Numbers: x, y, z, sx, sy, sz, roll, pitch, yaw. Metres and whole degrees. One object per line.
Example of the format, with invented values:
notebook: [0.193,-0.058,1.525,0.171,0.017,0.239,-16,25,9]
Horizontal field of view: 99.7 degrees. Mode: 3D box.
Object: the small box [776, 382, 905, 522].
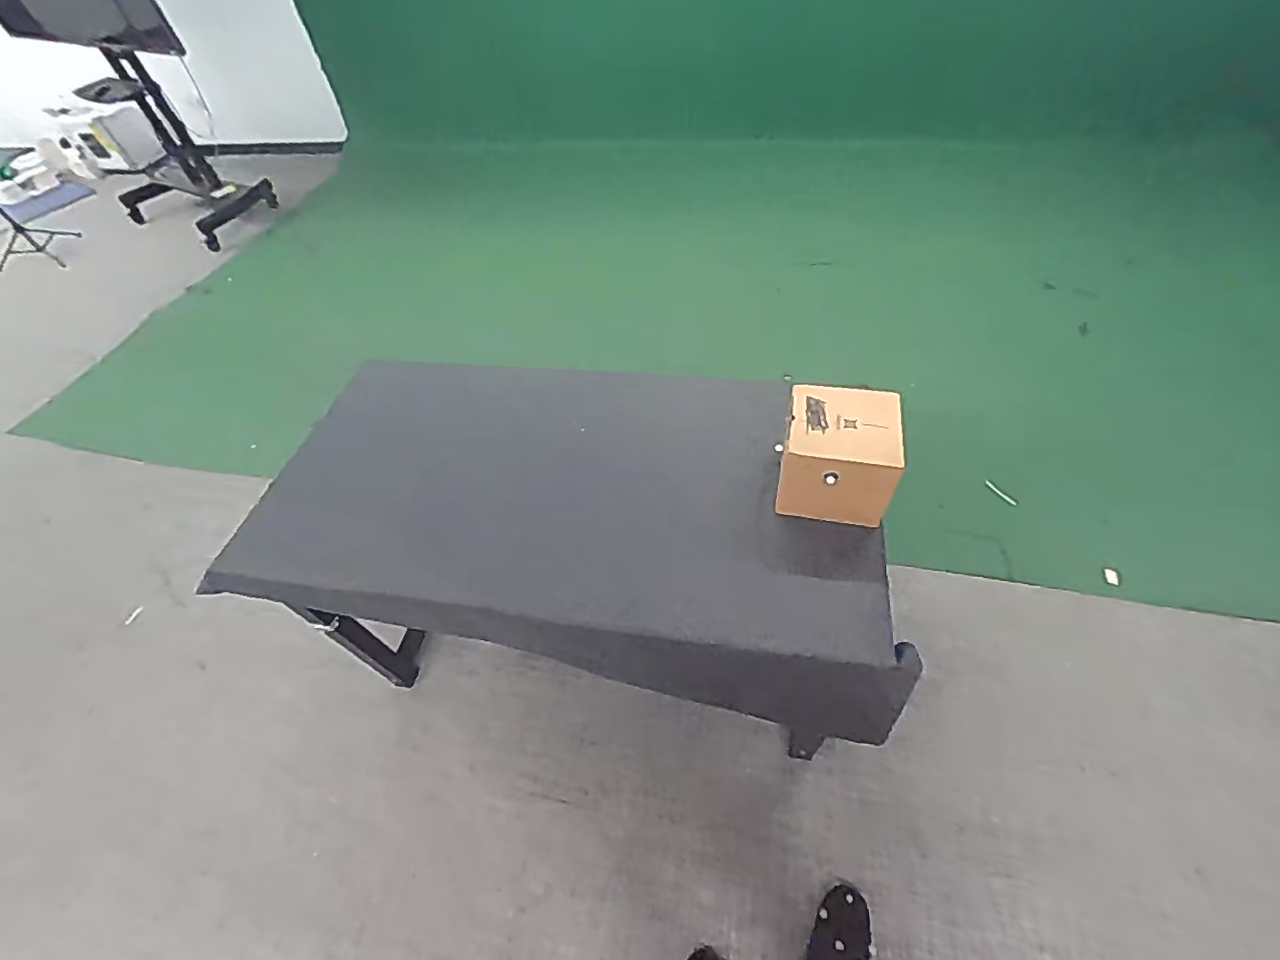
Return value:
small box: [0.338,-0.046,0.938,0.179,0.176,0.168,9,53,10]
